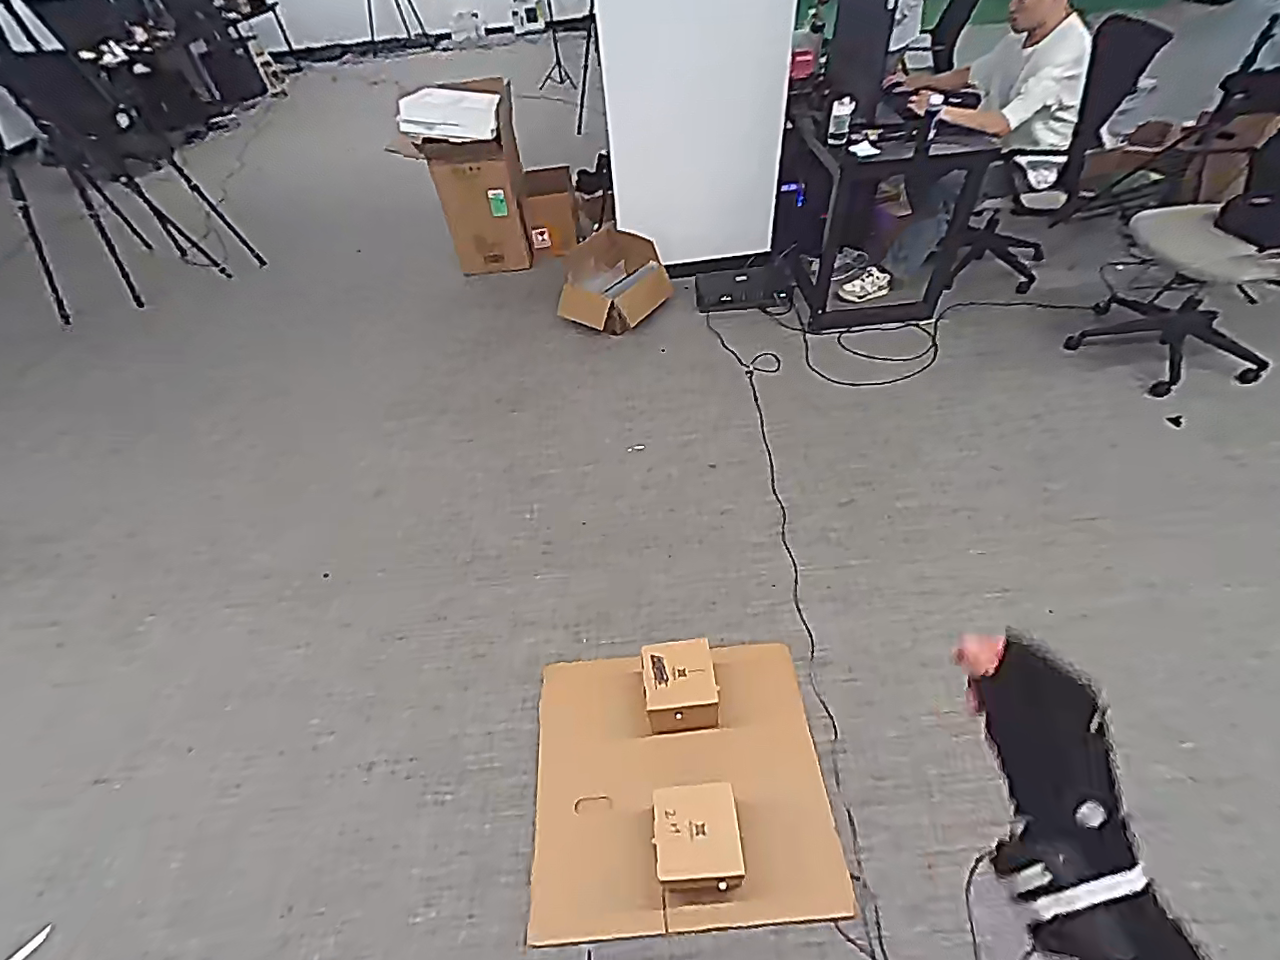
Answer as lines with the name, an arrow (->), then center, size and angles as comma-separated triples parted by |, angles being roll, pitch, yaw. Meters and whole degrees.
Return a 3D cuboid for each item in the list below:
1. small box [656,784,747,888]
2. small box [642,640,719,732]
small box -> 0.130, 0.776, 1.178 | 0.179, 0.176, 0.168 | -7, 47, 3
small box -> 0.105, 0.537, 1.399 | 0.179, 0.176, 0.168 | -7, 48, 1
